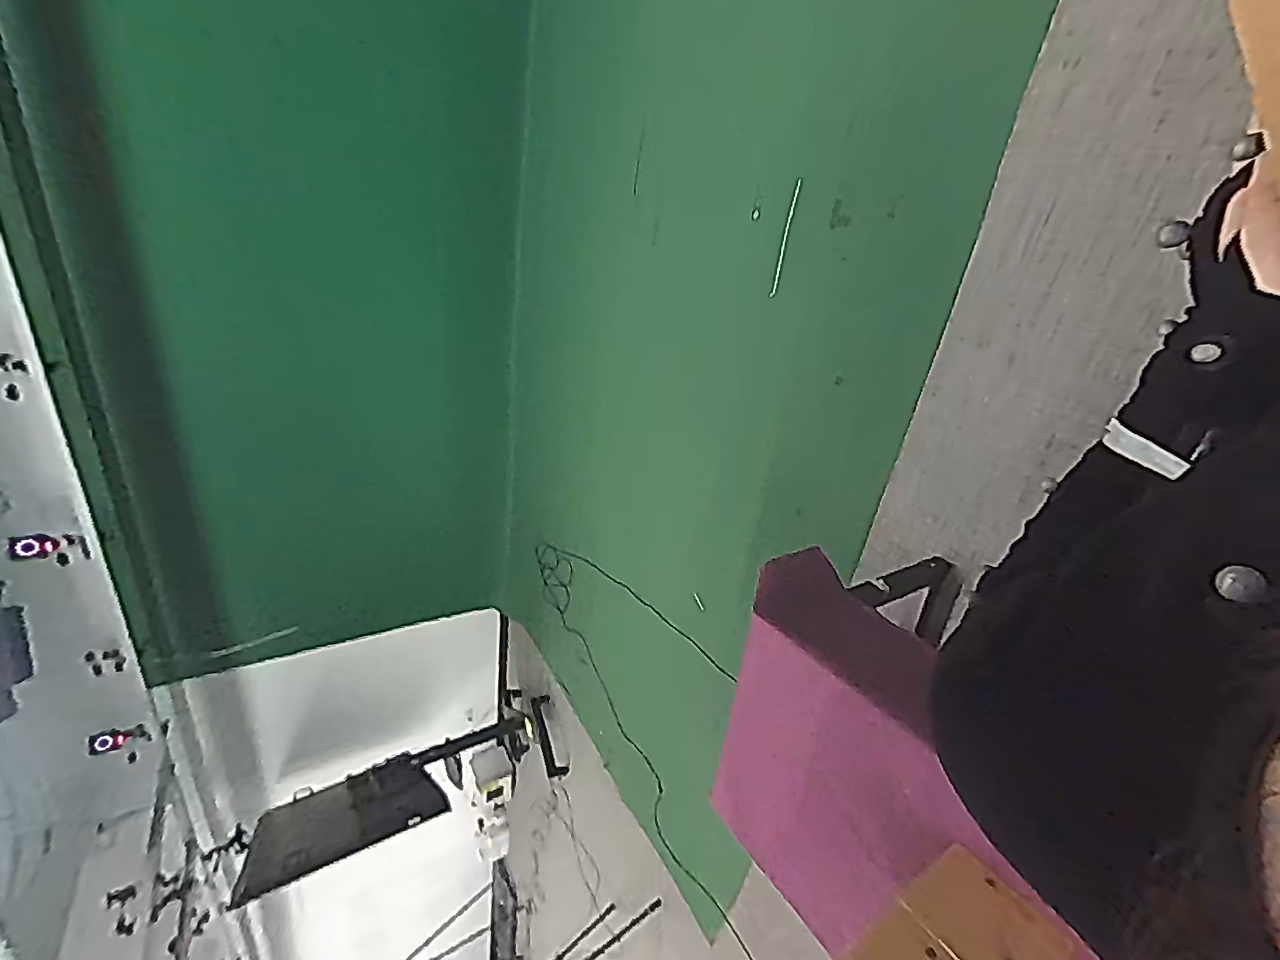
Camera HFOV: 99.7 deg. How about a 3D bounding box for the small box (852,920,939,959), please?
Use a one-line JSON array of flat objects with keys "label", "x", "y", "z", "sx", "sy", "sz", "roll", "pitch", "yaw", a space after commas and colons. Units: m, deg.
[{"label": "small box", "x": 0.328, "y": 0.719, "z": 0.680, "sx": 0.168, "sy": 0.176, "sz": 0.179, "roll": 34, "pitch": 126, "yaw": 50}]
